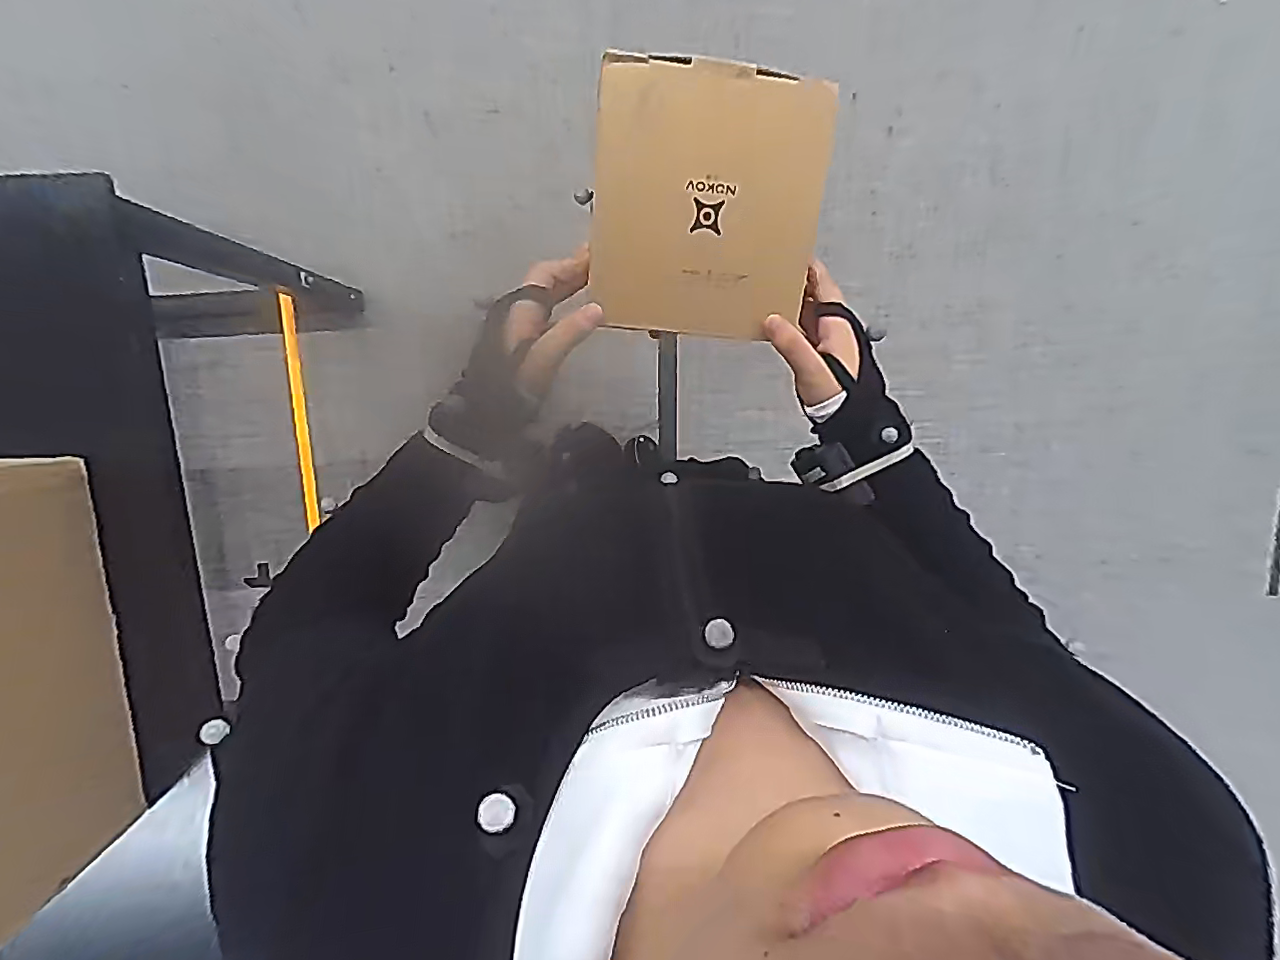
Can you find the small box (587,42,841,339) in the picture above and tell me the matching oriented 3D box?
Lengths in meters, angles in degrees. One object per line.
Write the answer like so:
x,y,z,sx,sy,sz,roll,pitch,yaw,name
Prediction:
0.042,-0.224,0.459,0.168,0.176,0.179,3,111,-6,small box
